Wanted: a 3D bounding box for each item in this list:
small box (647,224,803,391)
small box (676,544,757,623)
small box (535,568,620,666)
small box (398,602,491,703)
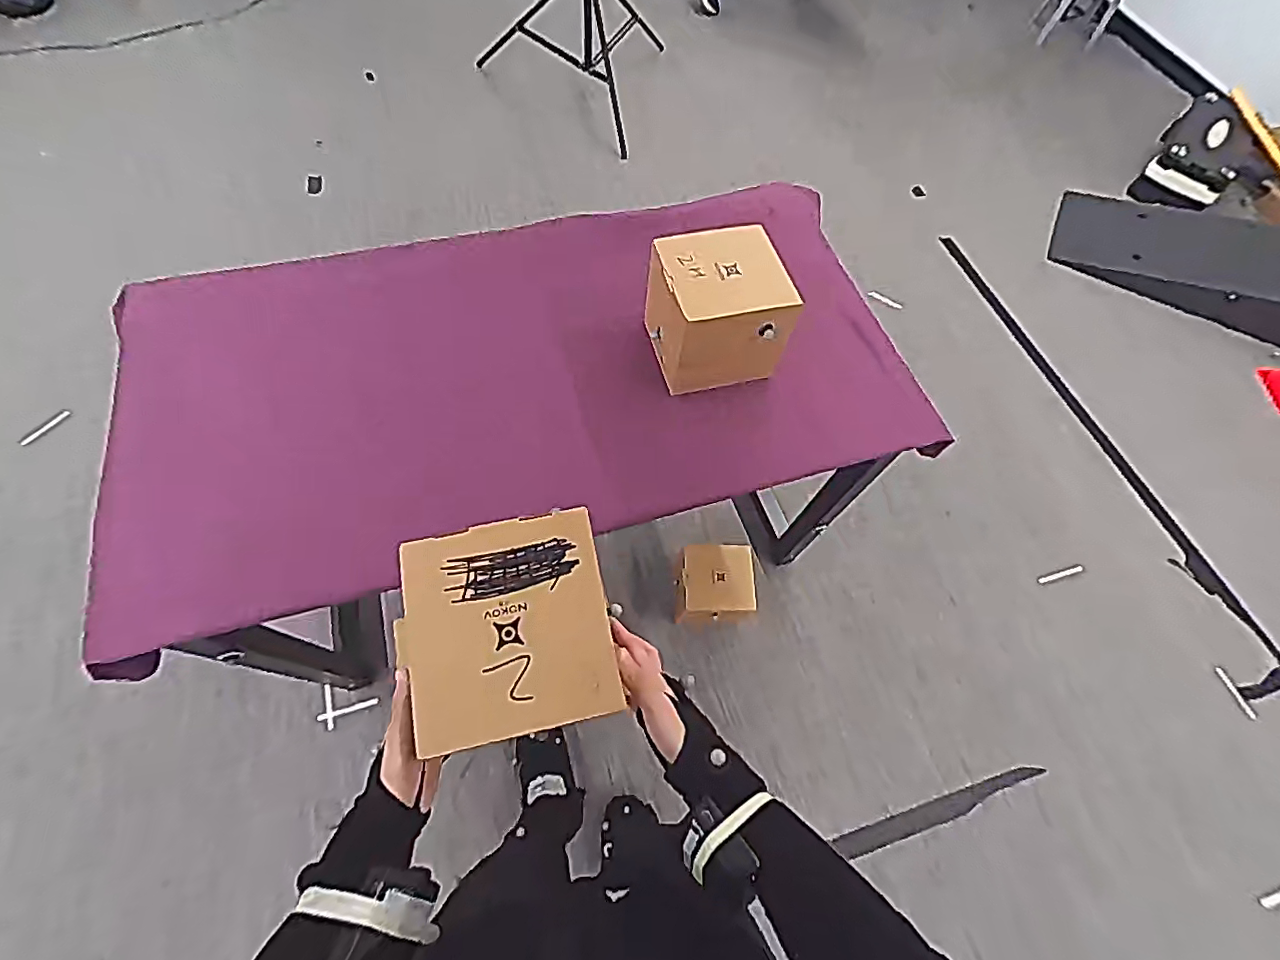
[{"bbox_3d":[0.118,-0.261,0.835,0.179,0.176,0.168,-13,64,-10],"label":"small box"},{"bbox_3d":[0.190,0.270,1.394,0.179,0.176,0.168,1,64,-3],"label":"small box"},{"bbox_3d":[-0.154,0.341,1.332,0.168,0.176,0.179,-15,66,-11],"label":"small box"},{"bbox_3d":[-0.458,0.410,1.277,0.168,0.176,0.179,-12,64,-10],"label":"small box"}]
